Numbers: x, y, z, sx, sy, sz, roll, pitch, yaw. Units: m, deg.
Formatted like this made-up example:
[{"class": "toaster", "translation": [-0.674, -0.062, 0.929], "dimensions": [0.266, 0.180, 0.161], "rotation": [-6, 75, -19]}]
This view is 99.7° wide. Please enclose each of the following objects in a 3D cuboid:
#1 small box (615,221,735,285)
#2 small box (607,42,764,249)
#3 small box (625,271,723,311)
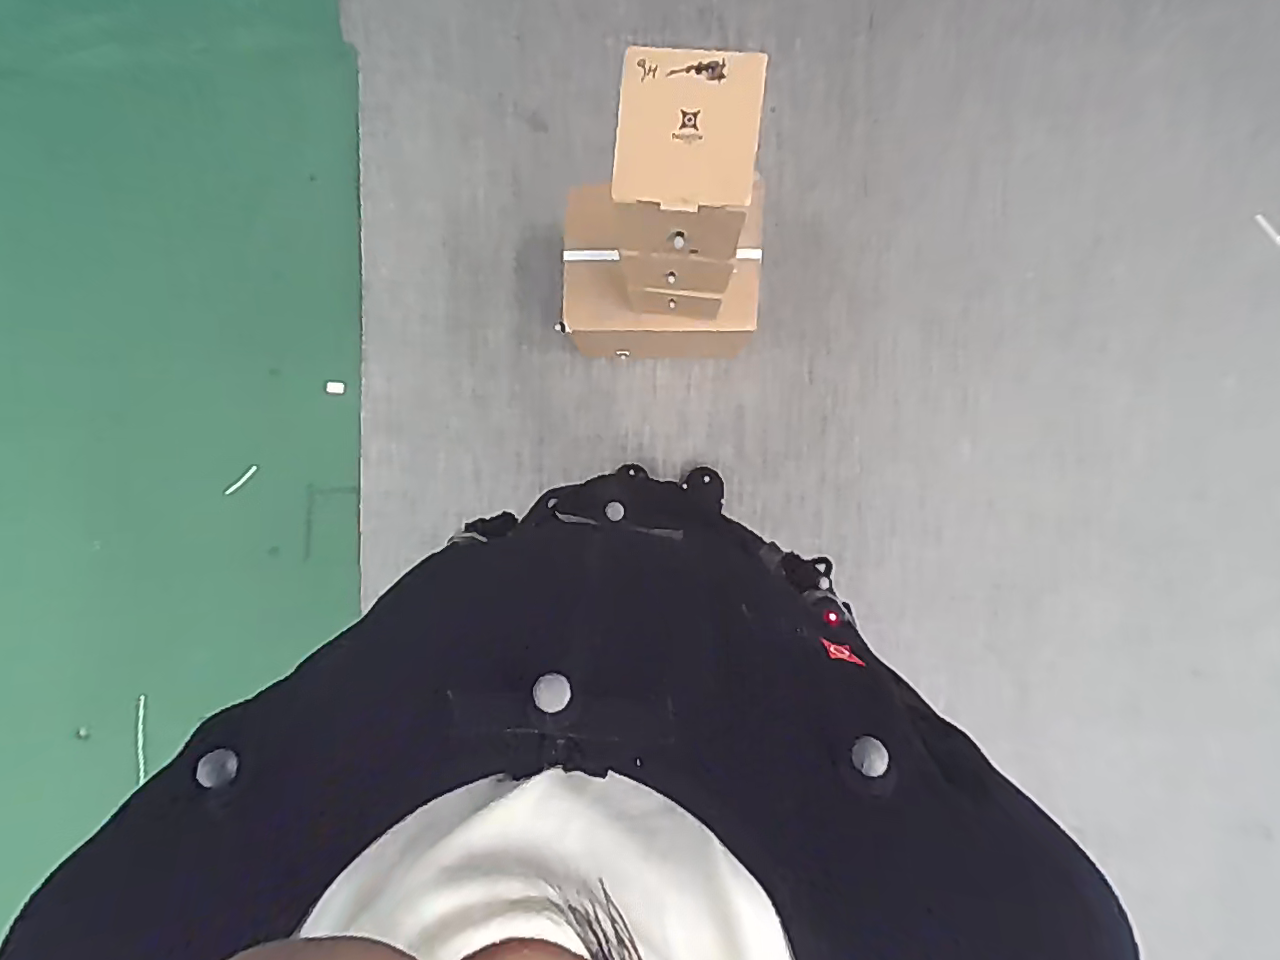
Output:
[{"class": "small box", "translation": [0.065, -0.422, 0.869], "dimensions": [0.179, 0.176, 0.168], "rotation": [7, 95, 5]}, {"class": "small box", "translation": [0.058, -0.418, 0.705], "dimensions": [0.168, 0.176, 0.179], "rotation": [7, 96, 3]}, {"class": "small box", "translation": [0.073, -0.430, 1.032], "dimensions": [0.179, 0.176, 0.168], "rotation": [7, 96, 2]}]
